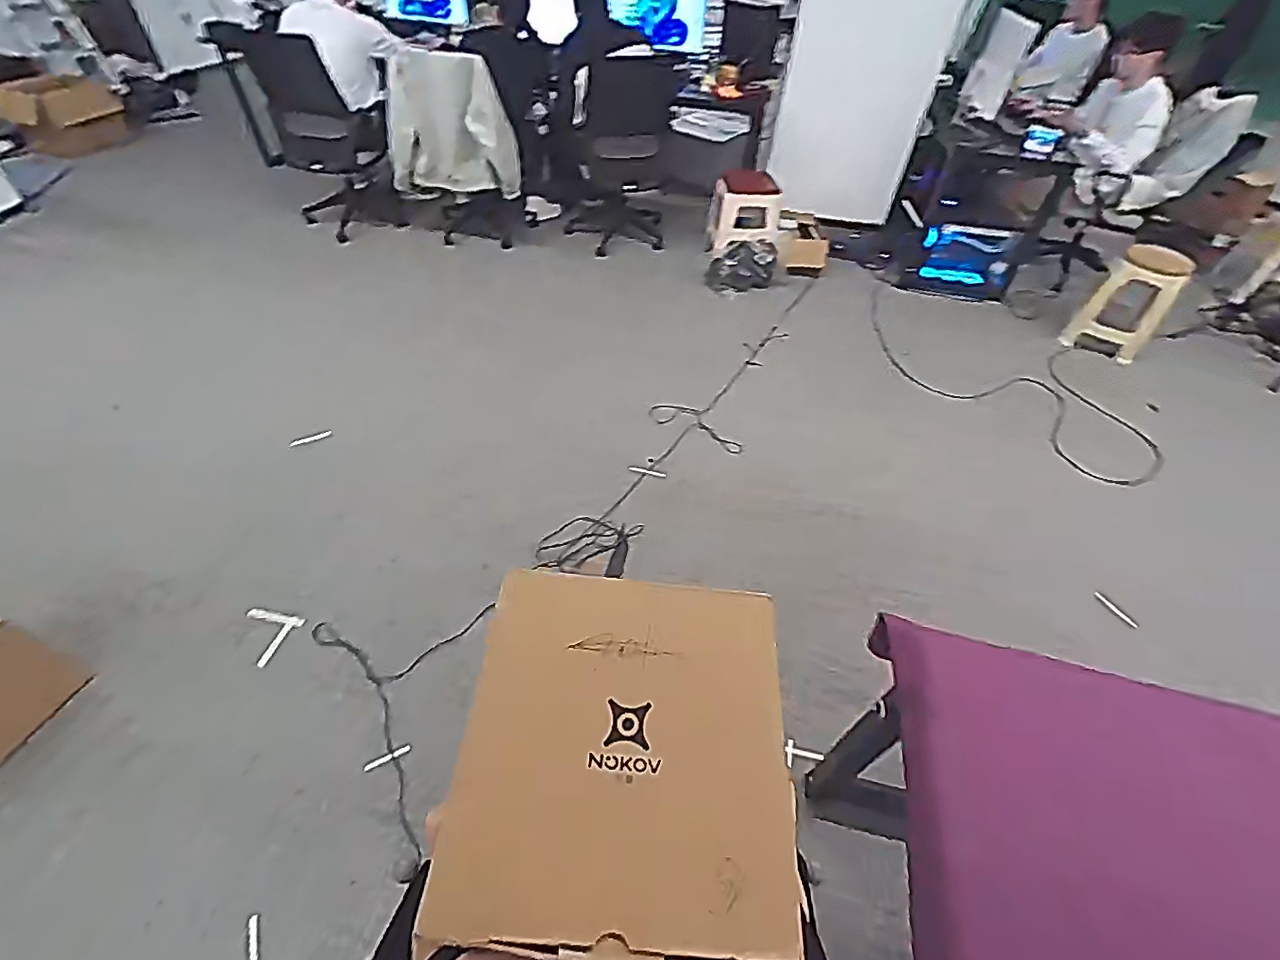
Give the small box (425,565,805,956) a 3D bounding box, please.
[{"bbox_3d":[-0.013,0.176,0.340,0.168,0.176,0.179,5,50,-3],"label":"small box"}]
